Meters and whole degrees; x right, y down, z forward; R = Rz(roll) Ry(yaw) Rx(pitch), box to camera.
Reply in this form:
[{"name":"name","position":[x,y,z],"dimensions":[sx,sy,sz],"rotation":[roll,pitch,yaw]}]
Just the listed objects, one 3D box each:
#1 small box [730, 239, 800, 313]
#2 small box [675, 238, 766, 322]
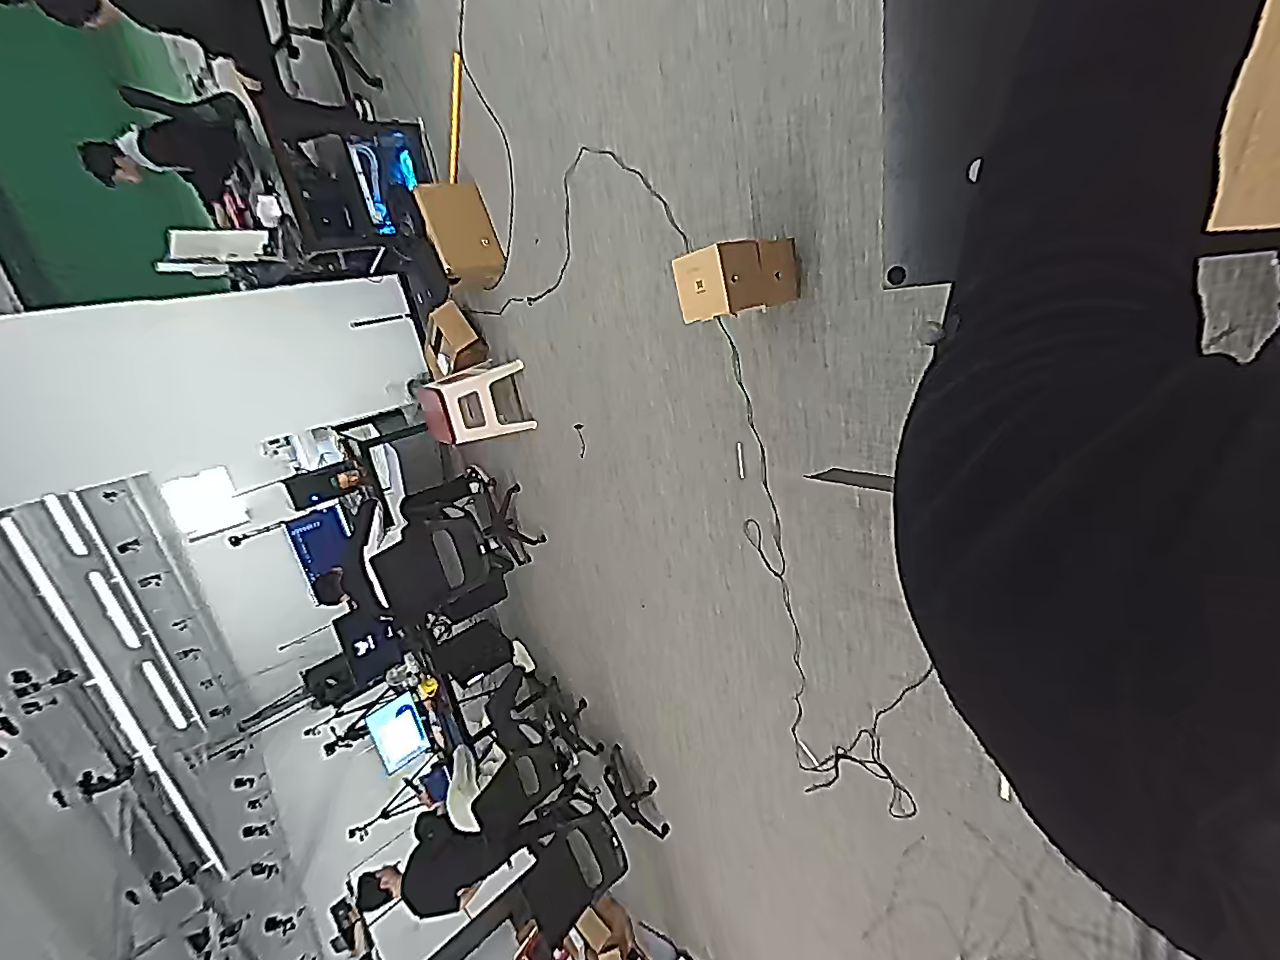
[{"name":"small box","position":[0.346,-0.595,1.575],"dimensions":[0.168,0.176,0.179],"rotation":[8,117,49]},{"name":"small box","position":[0.225,-0.546,1.478],"dimensions":[0.168,0.176,0.179],"rotation":[3,111,49]}]
